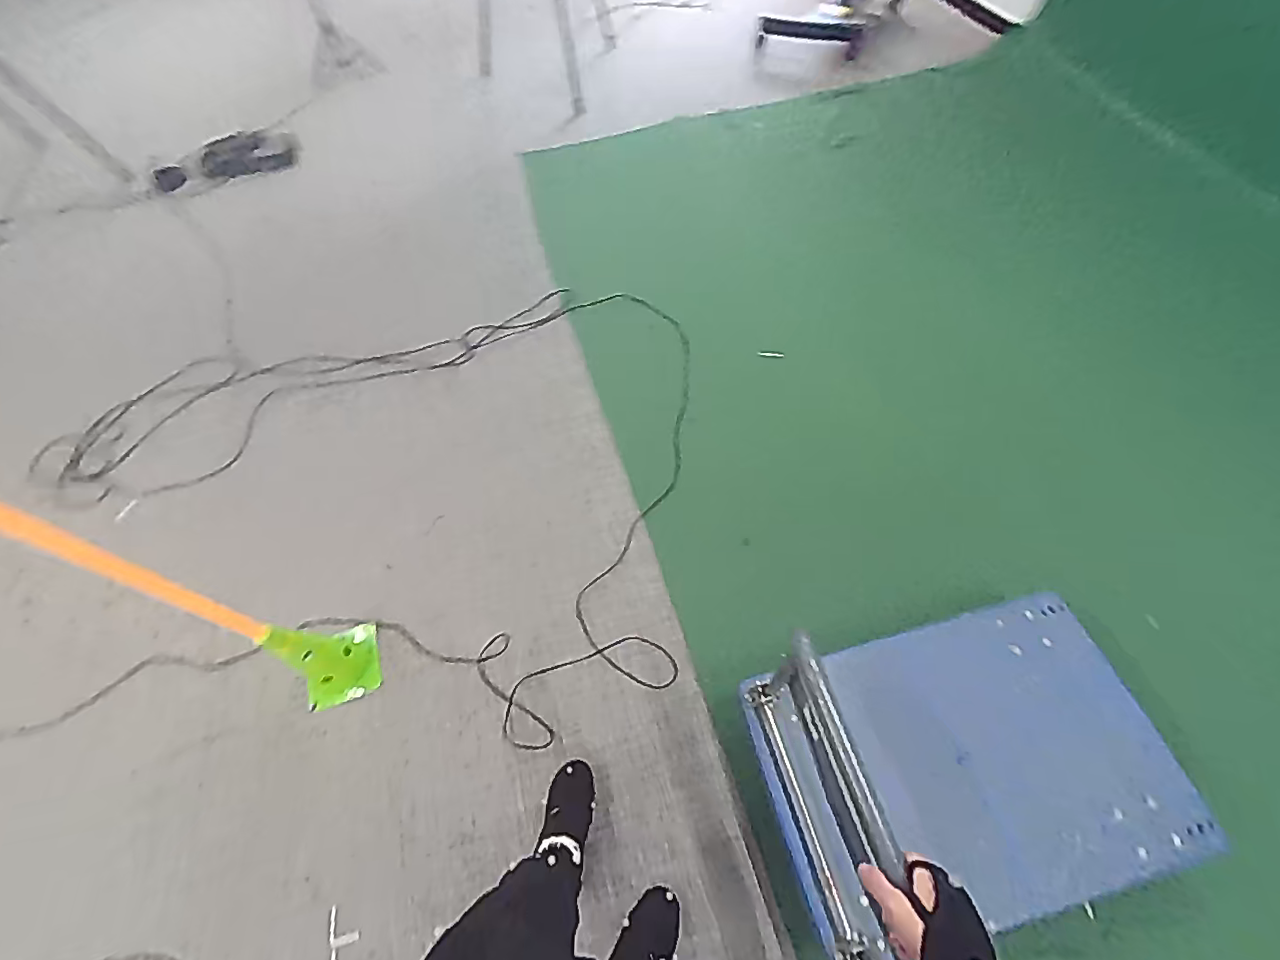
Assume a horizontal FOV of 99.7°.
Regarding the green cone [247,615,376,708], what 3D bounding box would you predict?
[{"bbox_3d":[-0.865,0.426,1.386,0.200,0.368,0.202,-19,59,-8],"label":"green cone"}]
